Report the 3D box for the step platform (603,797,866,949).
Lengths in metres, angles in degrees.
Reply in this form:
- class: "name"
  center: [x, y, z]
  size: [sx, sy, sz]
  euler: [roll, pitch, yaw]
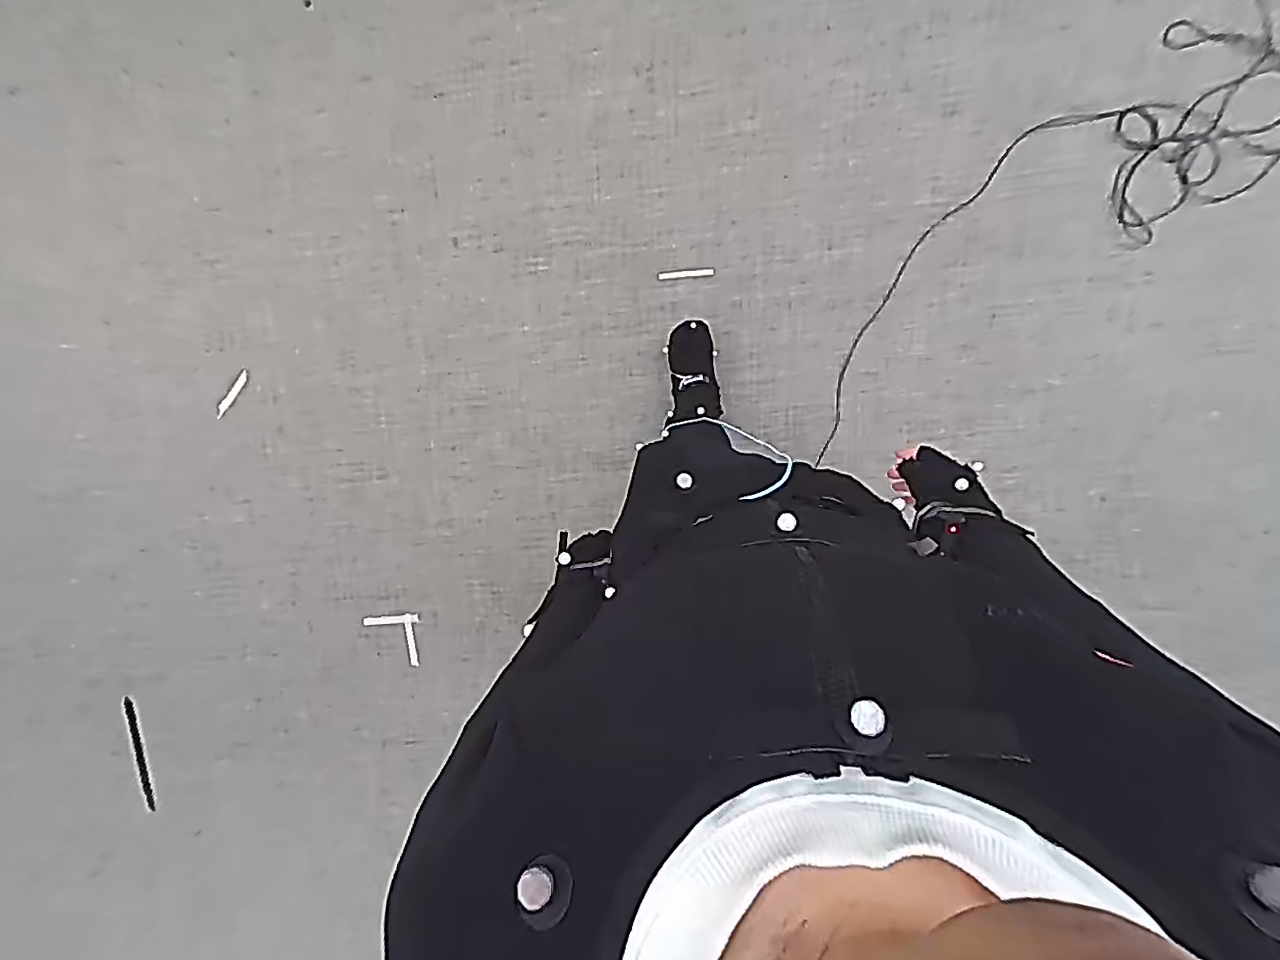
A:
- class: "step platform"
  center: [0.242, 1.056, 1.465]
  size: [0.684, 0.204, 0.286]
  euler: [-5, 96, 8]
